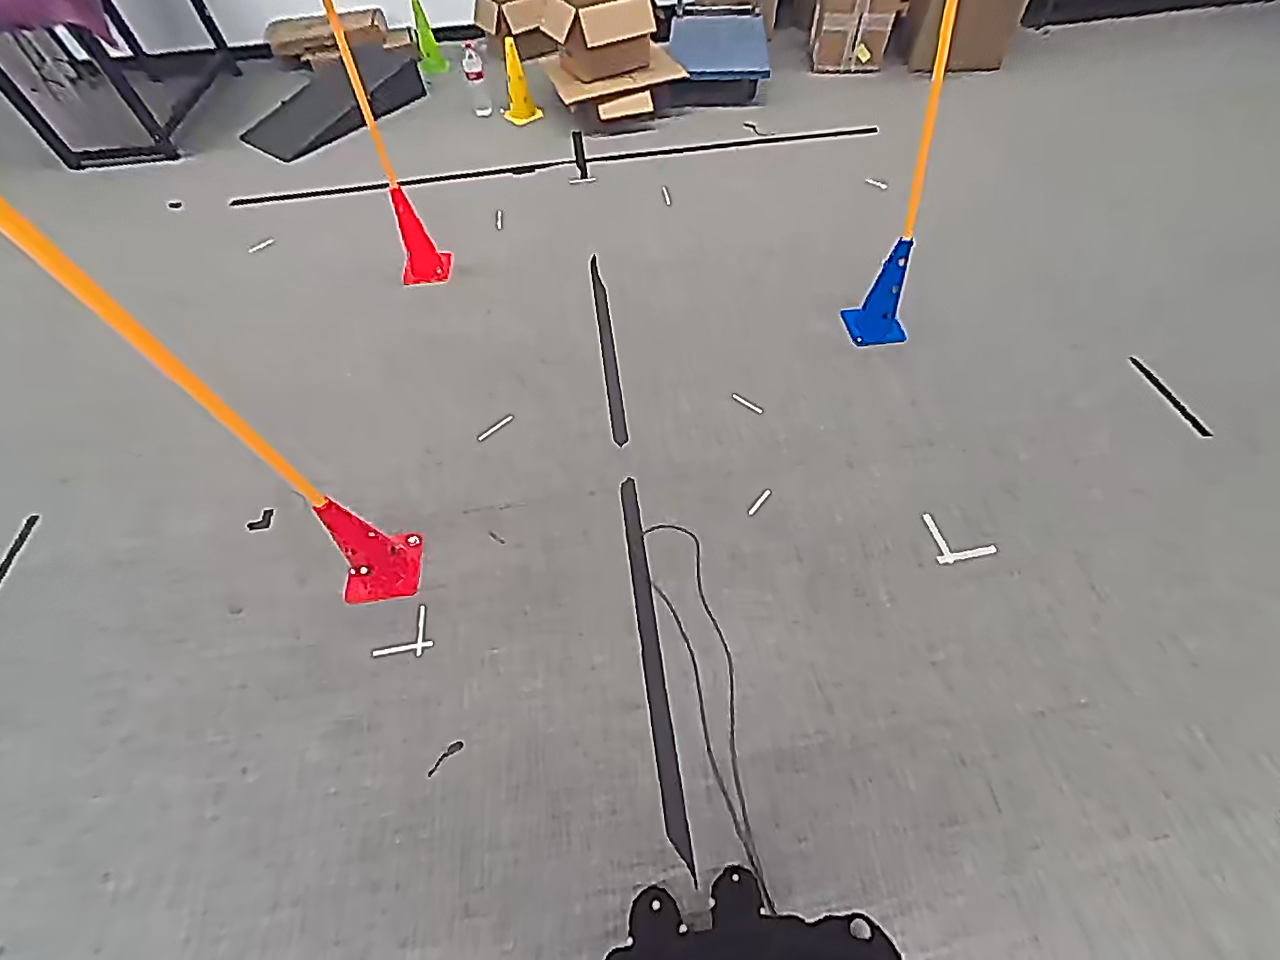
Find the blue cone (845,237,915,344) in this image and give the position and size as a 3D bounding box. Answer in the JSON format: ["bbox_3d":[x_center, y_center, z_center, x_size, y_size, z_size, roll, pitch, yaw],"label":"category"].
[{"bbox_3d":[0.875,-0.675,1.896,0.193,0.380,0.192,-5,57,-1],"label":"blue cone"}]

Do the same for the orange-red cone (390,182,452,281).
[{"bbox_3d":[-0.919,-1.012,2.176,0.198,0.360,0.199,-5,55,-1],"label":"orange-red cone"}]
